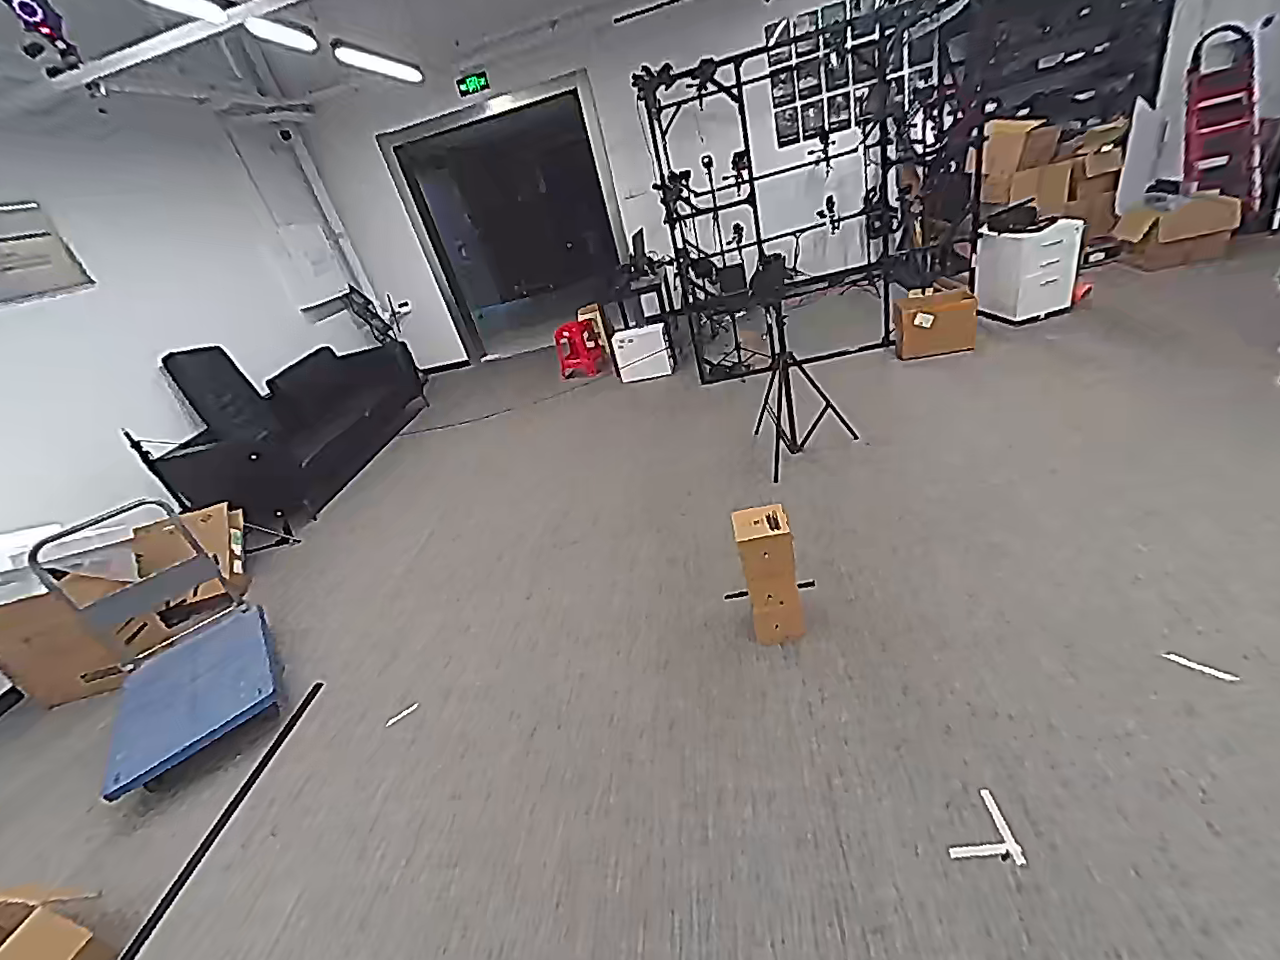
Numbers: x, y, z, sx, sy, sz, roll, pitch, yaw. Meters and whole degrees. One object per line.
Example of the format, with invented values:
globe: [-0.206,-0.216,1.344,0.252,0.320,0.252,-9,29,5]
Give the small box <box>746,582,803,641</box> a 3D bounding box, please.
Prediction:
small box: [0.496,0.475,1.994,0.168,0.176,0.179,-11,29,9]

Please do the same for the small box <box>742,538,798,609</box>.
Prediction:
small box: [0.460,0.333,1.923,0.168,0.176,0.179,-11,30,11]
